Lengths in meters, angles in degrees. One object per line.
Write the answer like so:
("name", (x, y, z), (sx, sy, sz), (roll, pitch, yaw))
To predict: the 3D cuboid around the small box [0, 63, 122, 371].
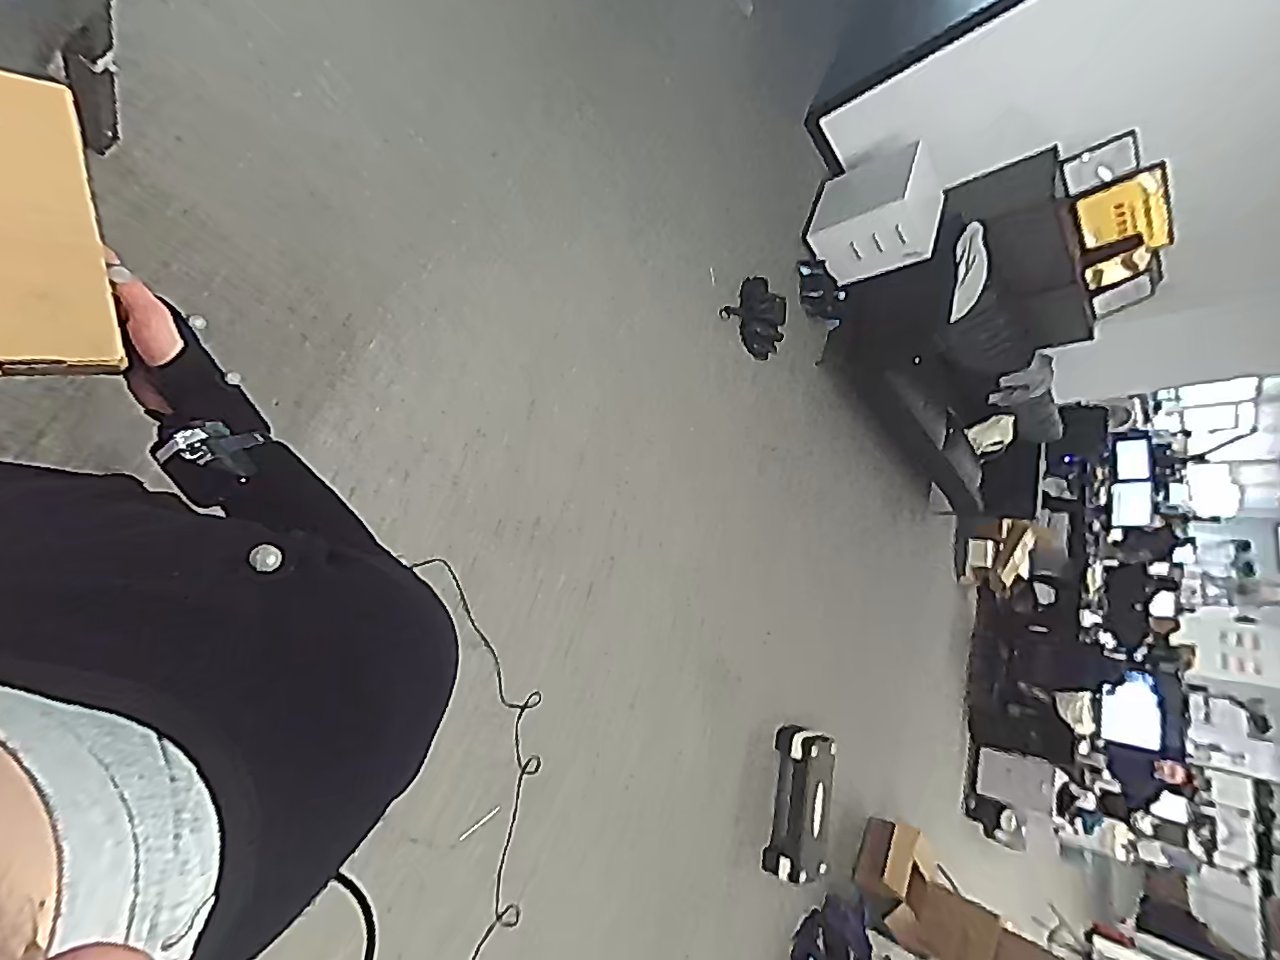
("small box", (-0.465, -0.161, 0.353), (0.168, 0.176, 0.179), (-13, 105, -43))
